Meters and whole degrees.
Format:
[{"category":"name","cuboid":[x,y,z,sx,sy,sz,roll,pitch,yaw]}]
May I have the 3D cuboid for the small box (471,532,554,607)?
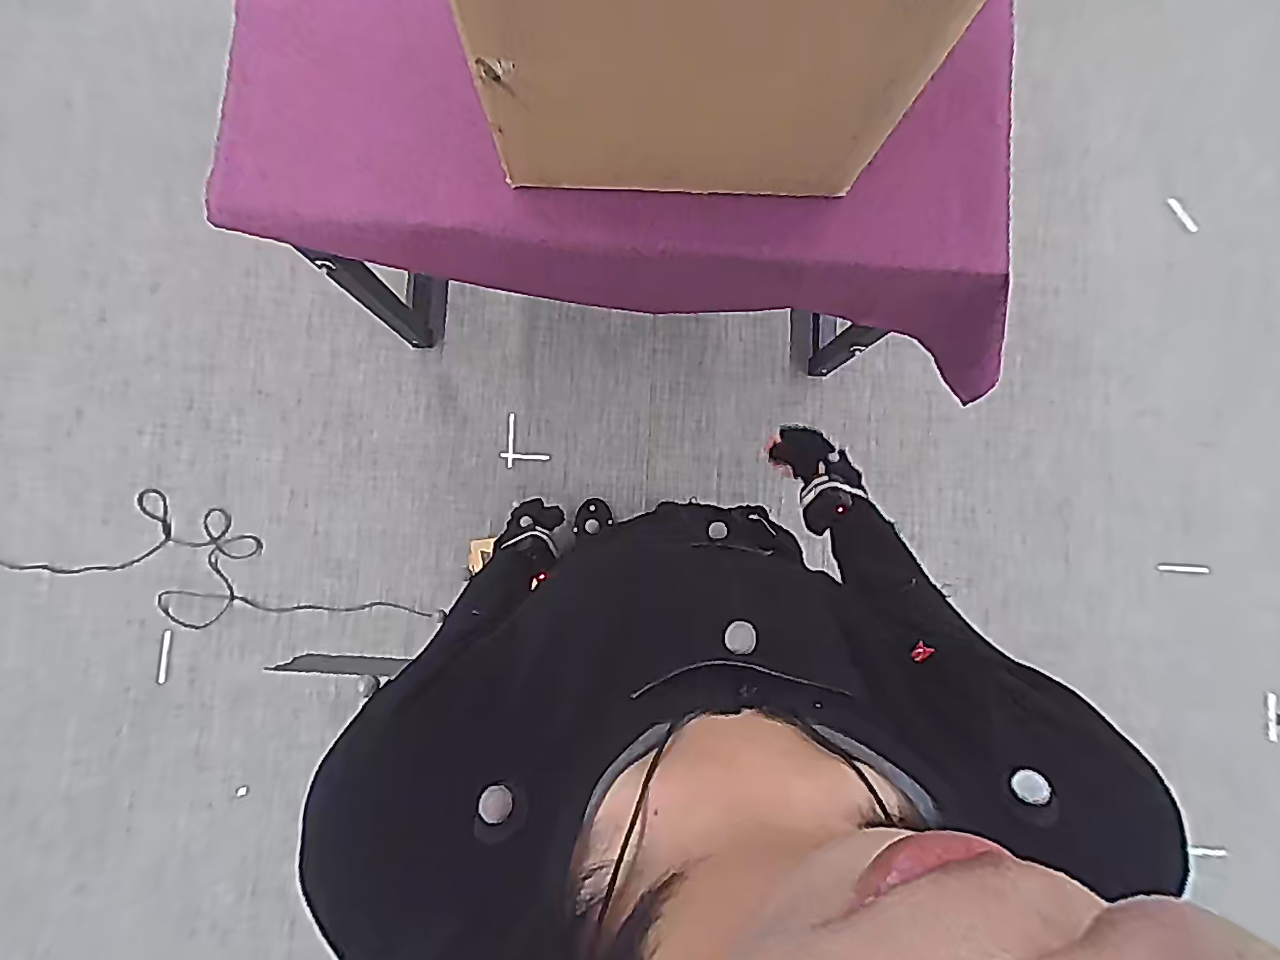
[{"category":"small box","cuboid":[-0.326,0.229,1.412,0.179,0.176,0.168,-7,87,-4]}]
